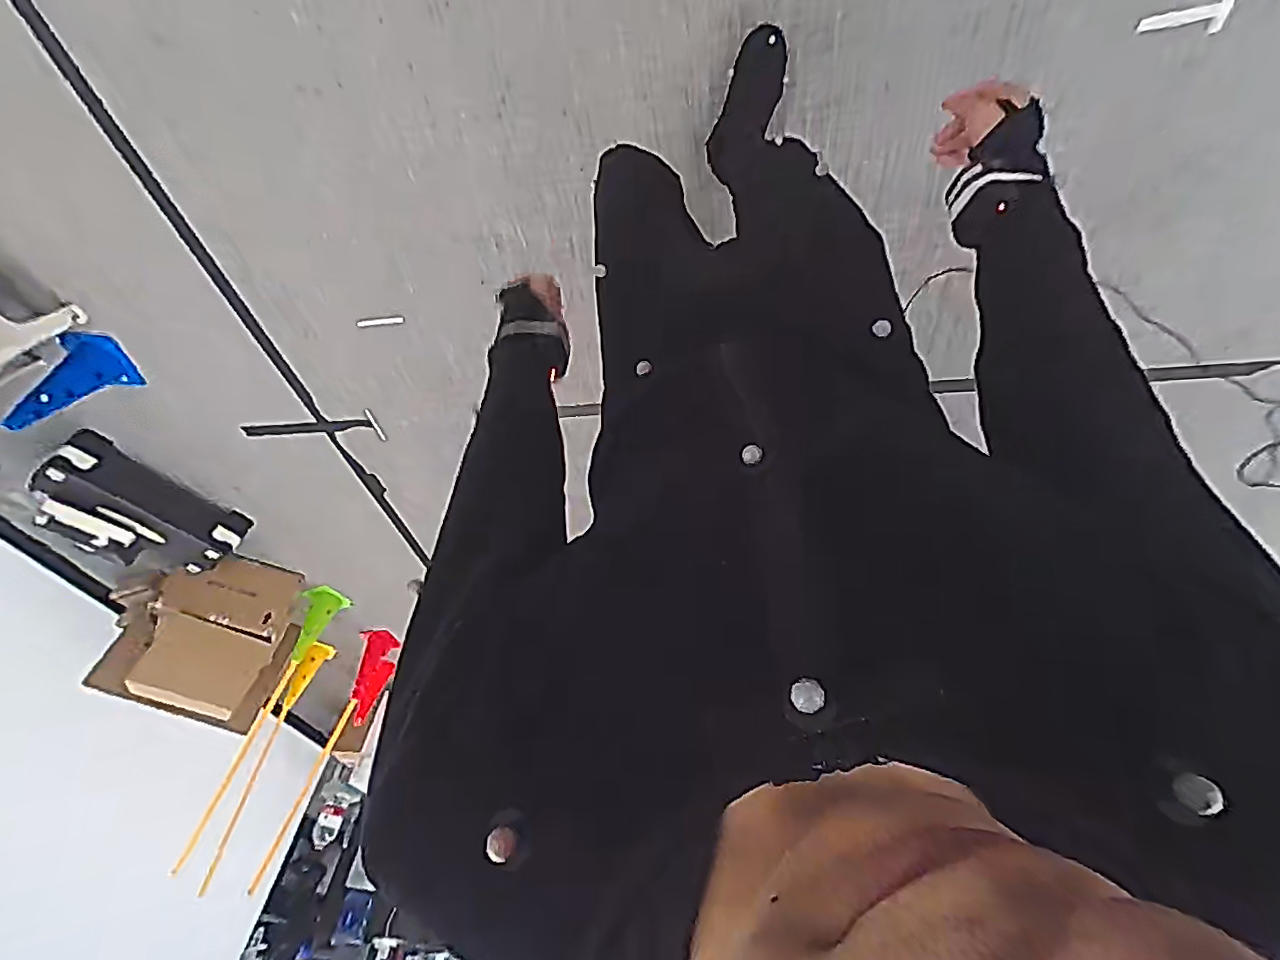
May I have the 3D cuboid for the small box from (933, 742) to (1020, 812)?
[{"bbox_3d":[1.089,0.965,1.764,0.179,0.176,0.168,-6,133,11],"label":"small box"}]
